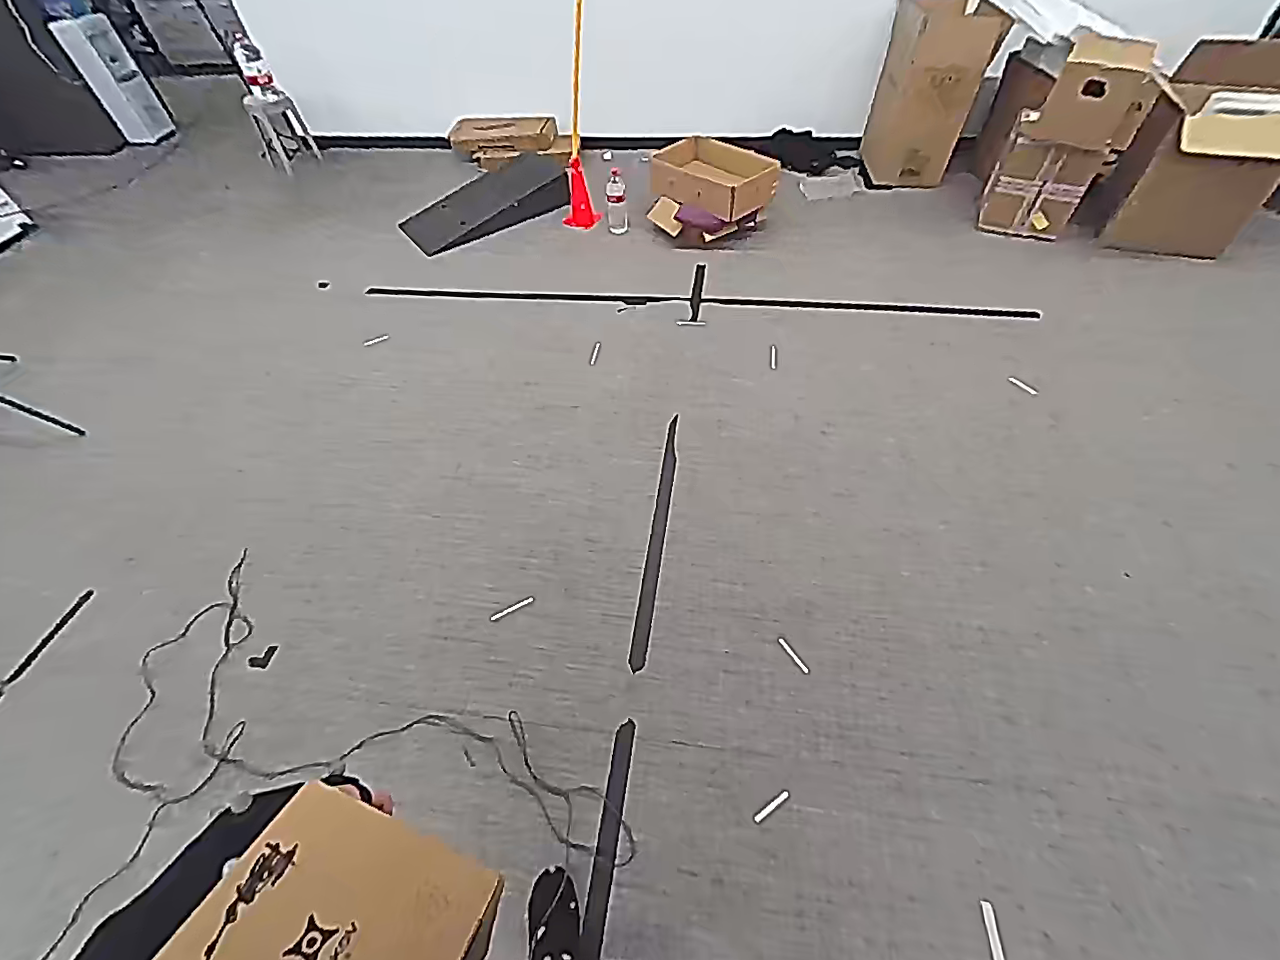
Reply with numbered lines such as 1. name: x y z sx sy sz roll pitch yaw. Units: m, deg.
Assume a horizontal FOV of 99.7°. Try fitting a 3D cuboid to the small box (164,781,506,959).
1. small box: -0.224 0.374 0.402 0.179 0.176 0.168 22 33 7
